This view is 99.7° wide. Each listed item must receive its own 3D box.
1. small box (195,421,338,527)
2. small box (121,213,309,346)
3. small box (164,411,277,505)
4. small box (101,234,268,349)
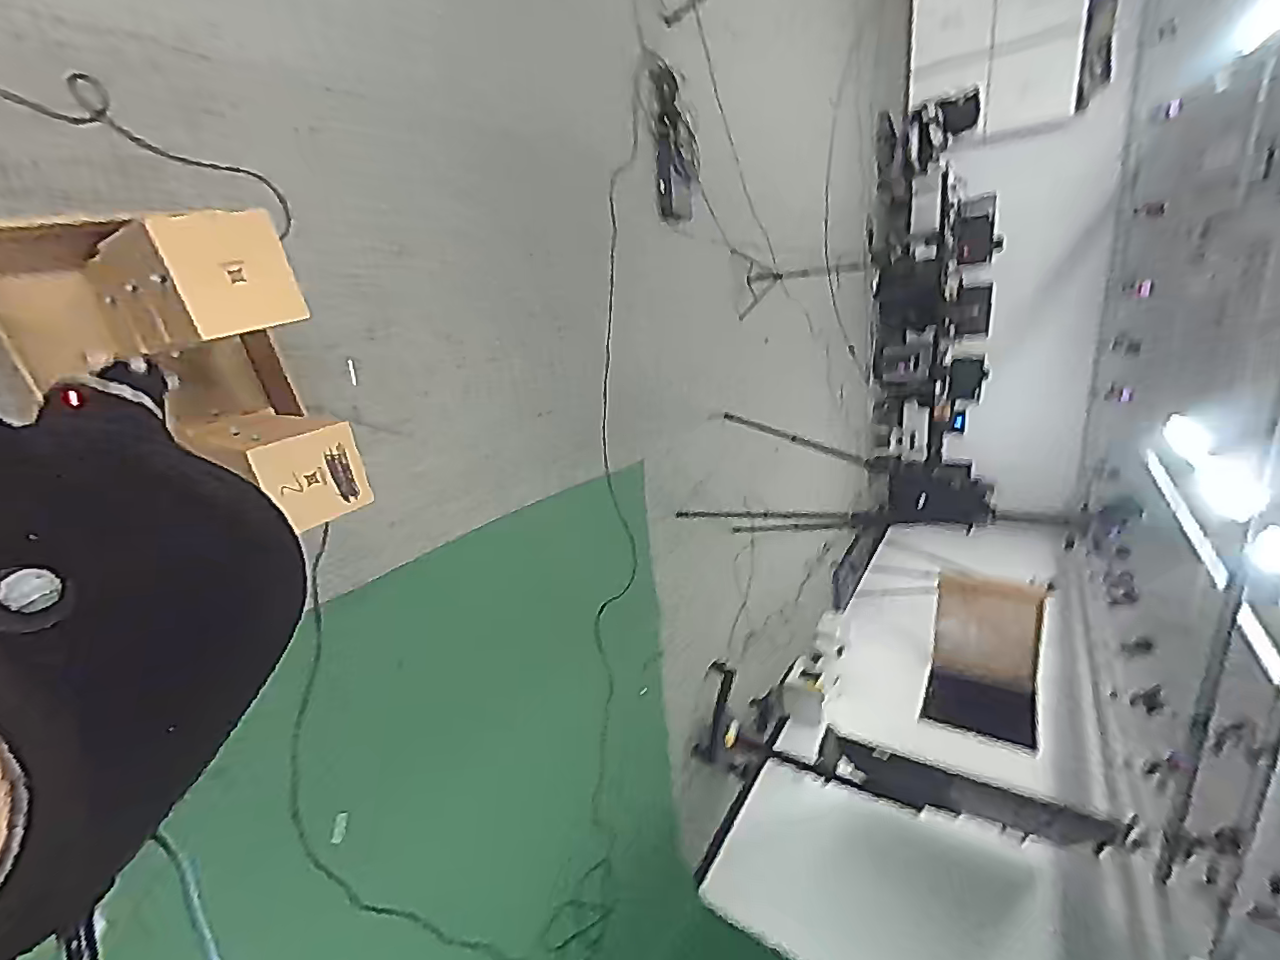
[{"bbox_3d":[-0.768,-0.020,1.108,0.179,0.176,0.168,-33,122,-49],"label":"small box"},{"bbox_3d":[-0.692,-0.324,0.886,0.168,0.176,0.179,-37,124,-44],"label":"small box"},{"bbox_3d":[-0.903,-0.049,1.197,0.168,0.176,0.179,-32,120,-48],"label":"small box"},{"bbox_3d":[-0.823,-0.340,0.980,0.168,0.176,0.179,-31,121,-47],"label":"small box"}]
